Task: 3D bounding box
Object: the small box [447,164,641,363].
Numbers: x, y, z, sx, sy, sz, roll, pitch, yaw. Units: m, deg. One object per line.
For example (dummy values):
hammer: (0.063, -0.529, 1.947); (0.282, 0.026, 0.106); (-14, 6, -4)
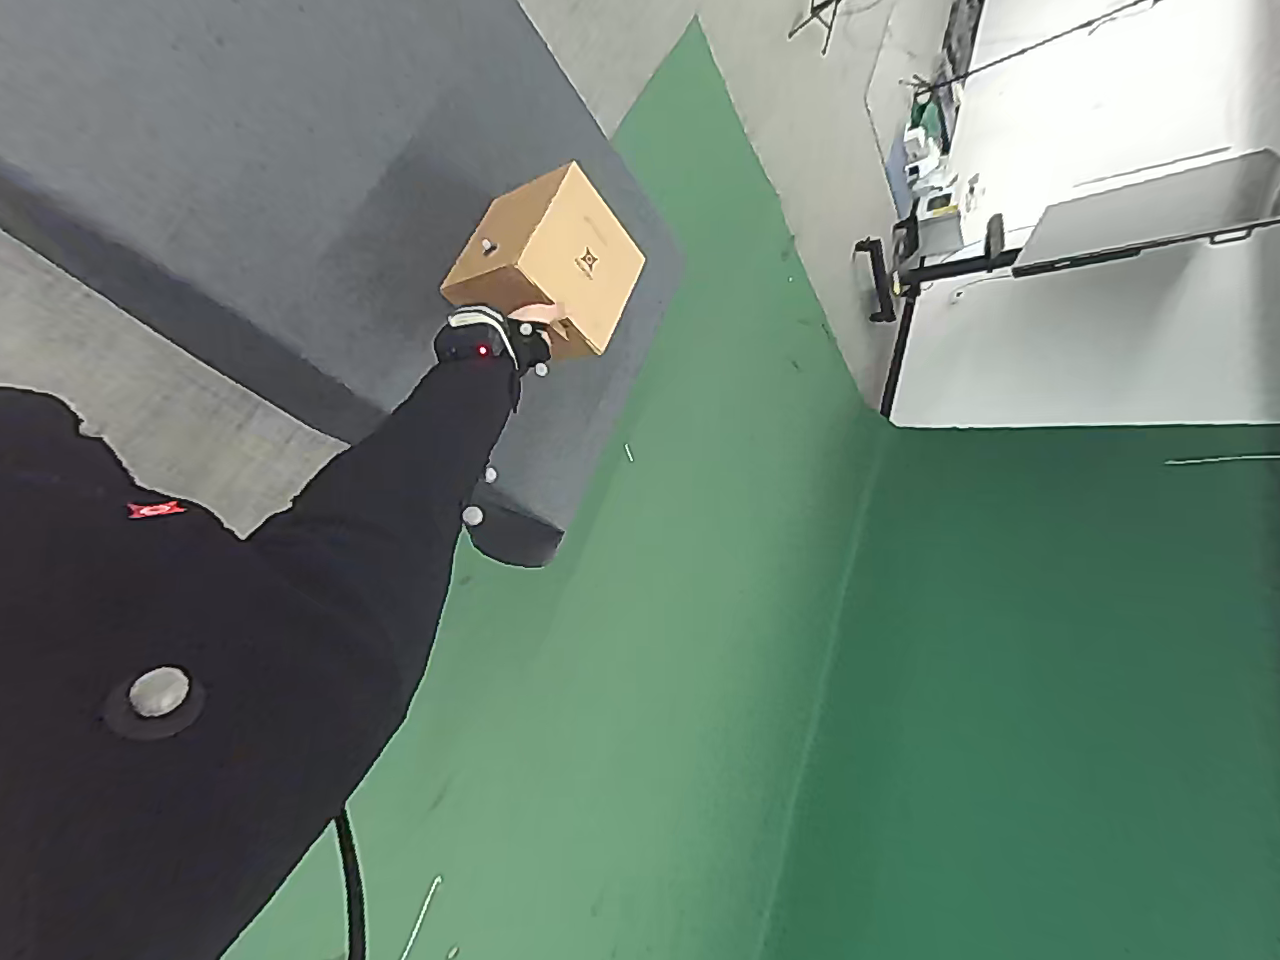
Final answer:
small box: (-0.132, -0.278, 0.737); (0.168, 0.176, 0.179); (41, 61, -44)
